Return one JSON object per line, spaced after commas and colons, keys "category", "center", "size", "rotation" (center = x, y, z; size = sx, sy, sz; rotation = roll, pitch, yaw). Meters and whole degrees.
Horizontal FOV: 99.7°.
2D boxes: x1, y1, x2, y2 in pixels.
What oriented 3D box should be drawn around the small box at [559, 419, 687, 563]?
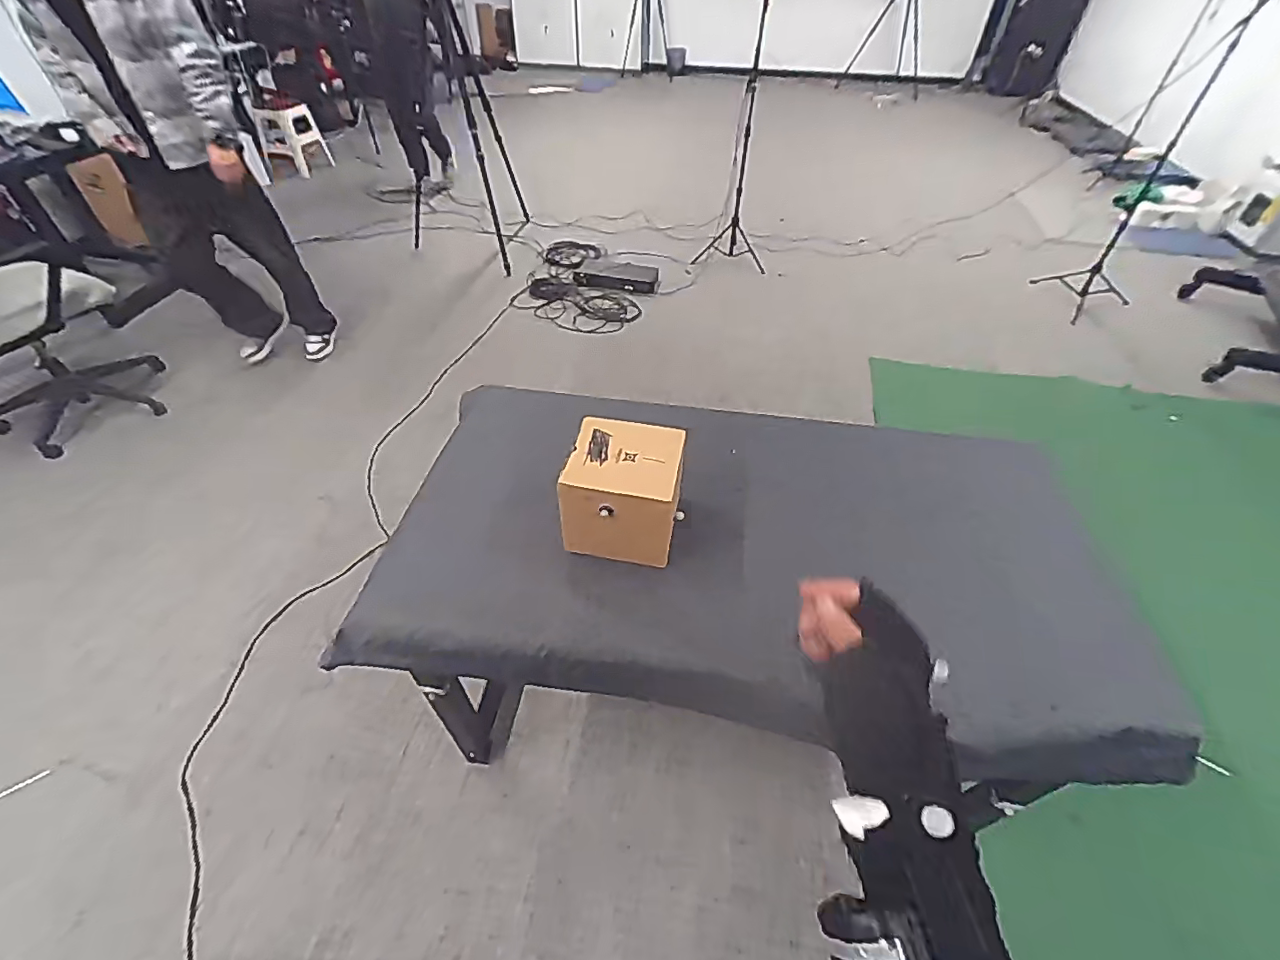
{"category": "small box", "center": [-0.024, 0.021, 0.910], "size": [0.179, 0.176, 0.168], "rotation": [9, 46, 6]}
